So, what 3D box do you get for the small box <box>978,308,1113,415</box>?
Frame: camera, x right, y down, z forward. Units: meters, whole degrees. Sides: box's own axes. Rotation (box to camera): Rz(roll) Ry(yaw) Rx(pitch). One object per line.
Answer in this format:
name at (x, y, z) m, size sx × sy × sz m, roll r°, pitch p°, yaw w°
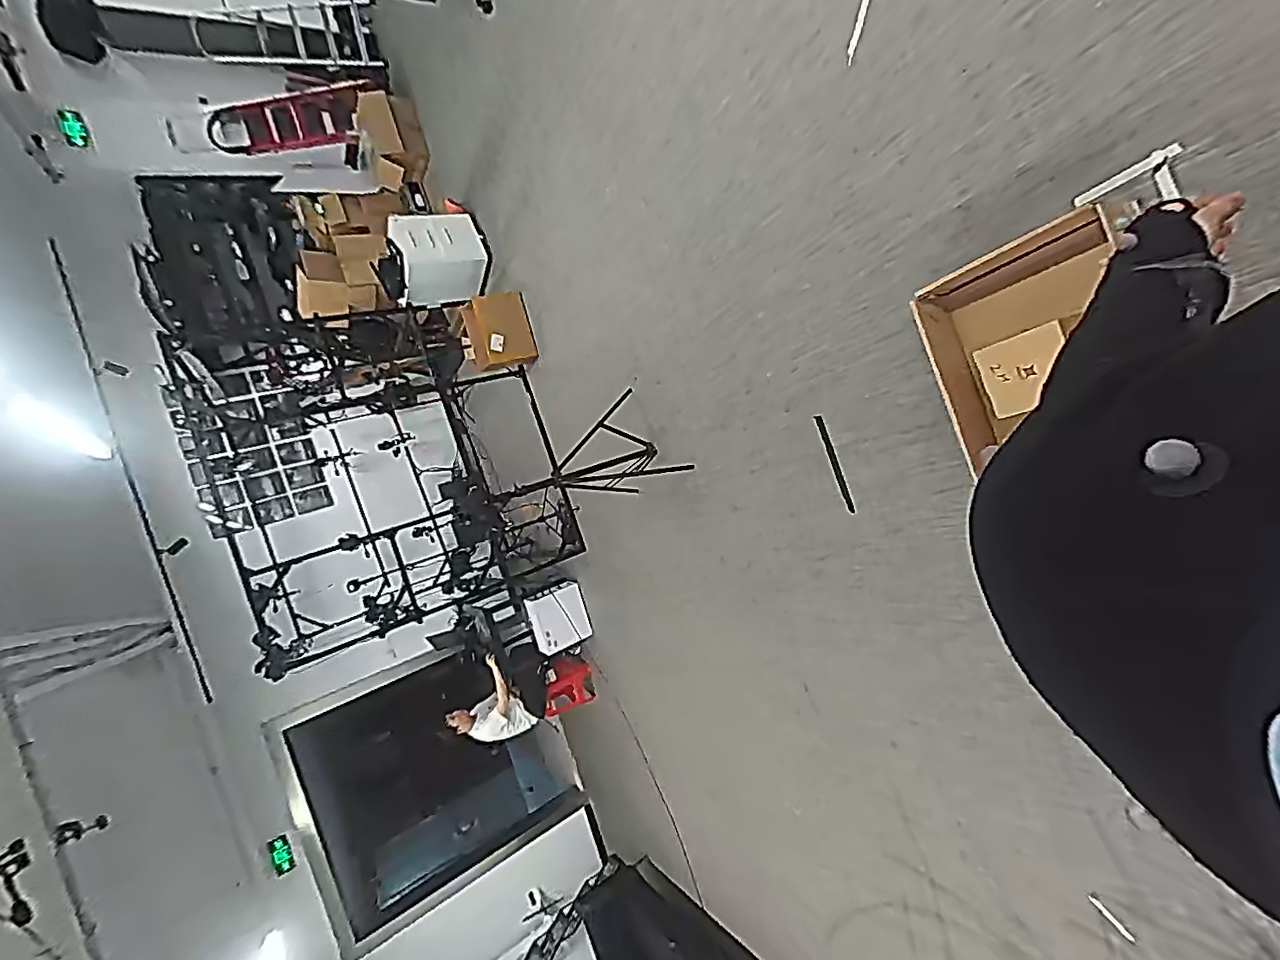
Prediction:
small box at (0.898, -0.261, 1.191) m, size 0.179 × 0.176 × 0.168 m, roll -22°, pitch 88°, yaw 60°
